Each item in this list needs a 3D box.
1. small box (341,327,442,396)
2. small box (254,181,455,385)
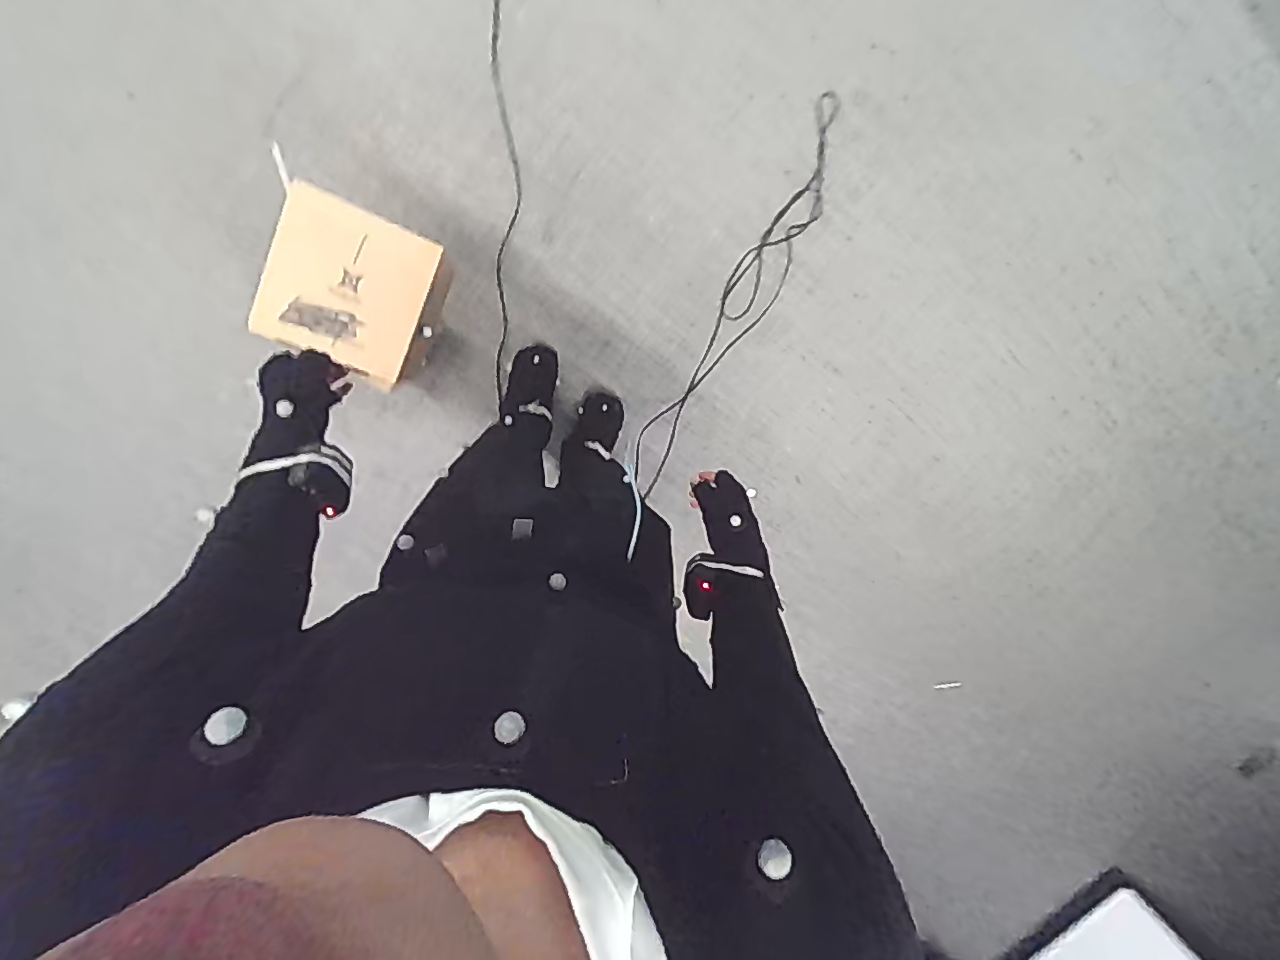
[{"bbox_3d":[-0.570,-0.316,1.206,0.179,0.176,0.168,36,101,-18],"label":"small box"},{"bbox_3d":[-0.348,-0.238,0.696,0.168,0.176,0.179,21,97,-18],"label":"small box"}]
